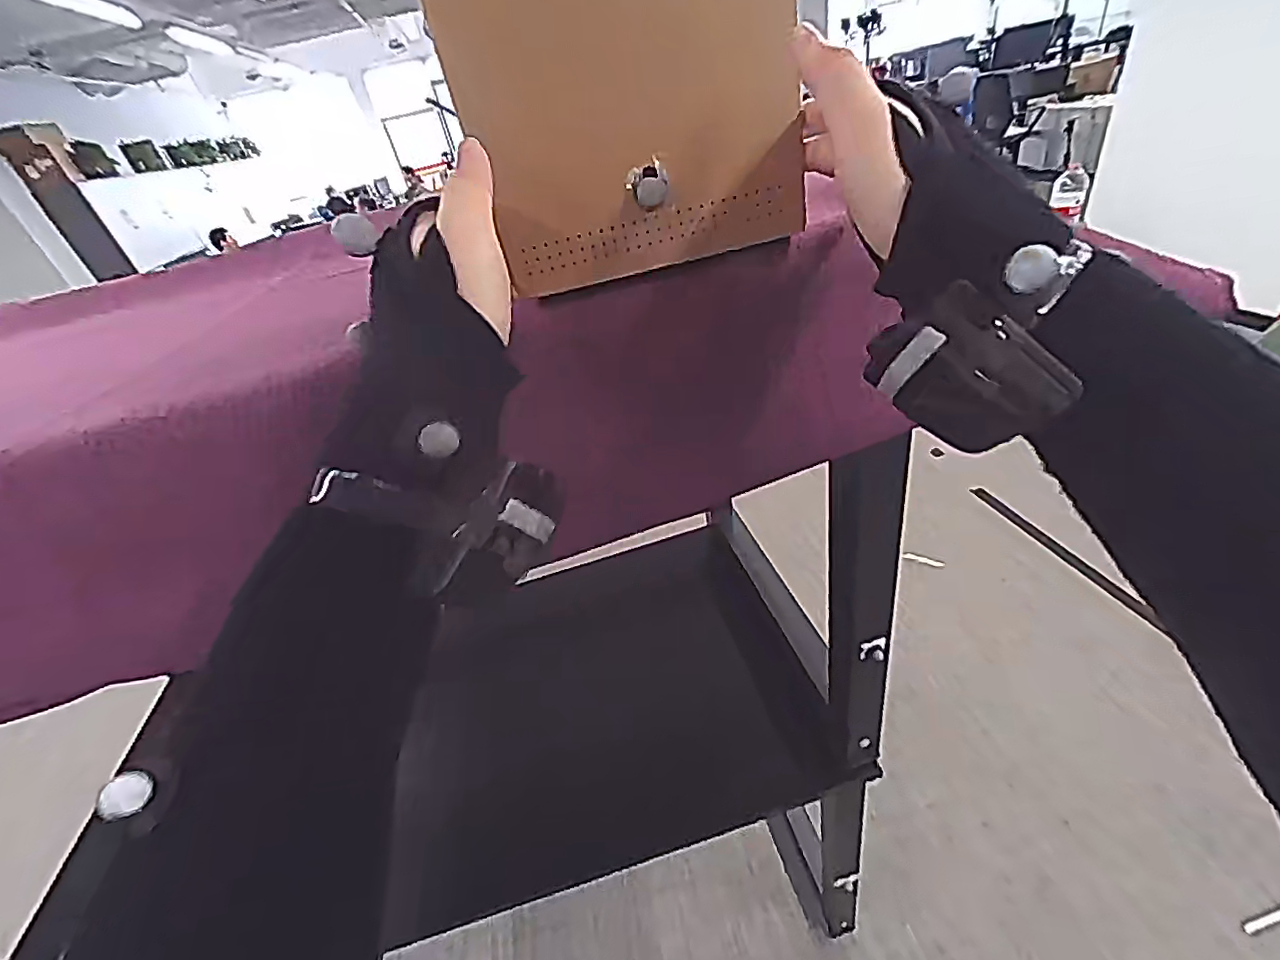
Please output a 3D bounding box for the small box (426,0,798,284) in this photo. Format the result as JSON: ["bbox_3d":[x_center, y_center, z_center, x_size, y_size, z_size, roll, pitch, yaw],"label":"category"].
[{"bbox_3d":[-0.012,-0.236,0.330,0.179,0.176,0.168,-14,31,-1],"label":"small box"}]
